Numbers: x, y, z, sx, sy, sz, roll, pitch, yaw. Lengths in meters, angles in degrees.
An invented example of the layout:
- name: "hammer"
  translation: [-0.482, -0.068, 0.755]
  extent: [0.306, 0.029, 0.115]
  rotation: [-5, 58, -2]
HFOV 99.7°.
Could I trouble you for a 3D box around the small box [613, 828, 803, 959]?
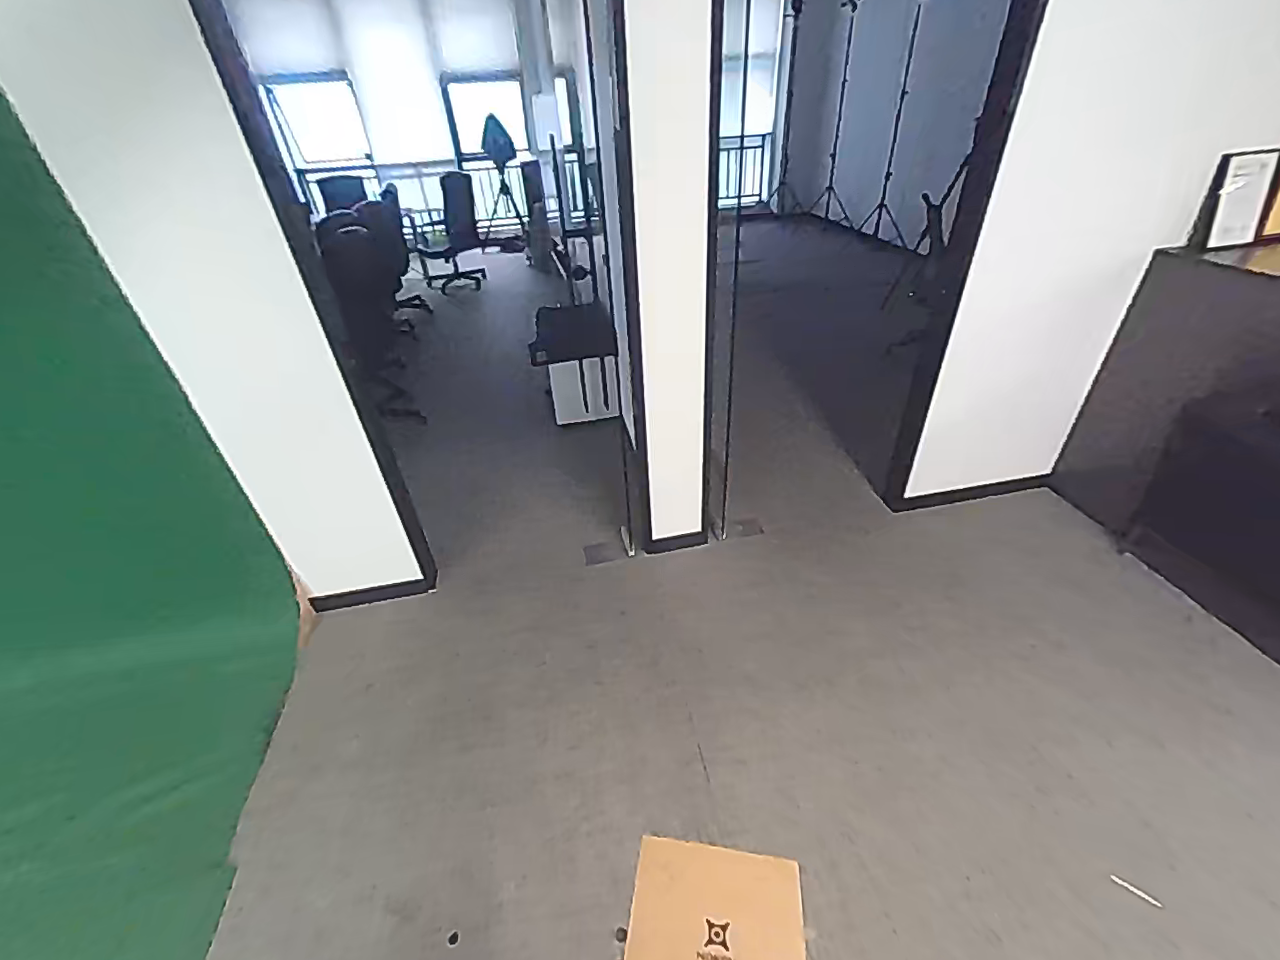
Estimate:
- name: "small box"
  translation: [0.065, 0.496, 0.533]
  extent: [0.168, 0.176, 0.179]
  rotation: [5, 30, 15]
